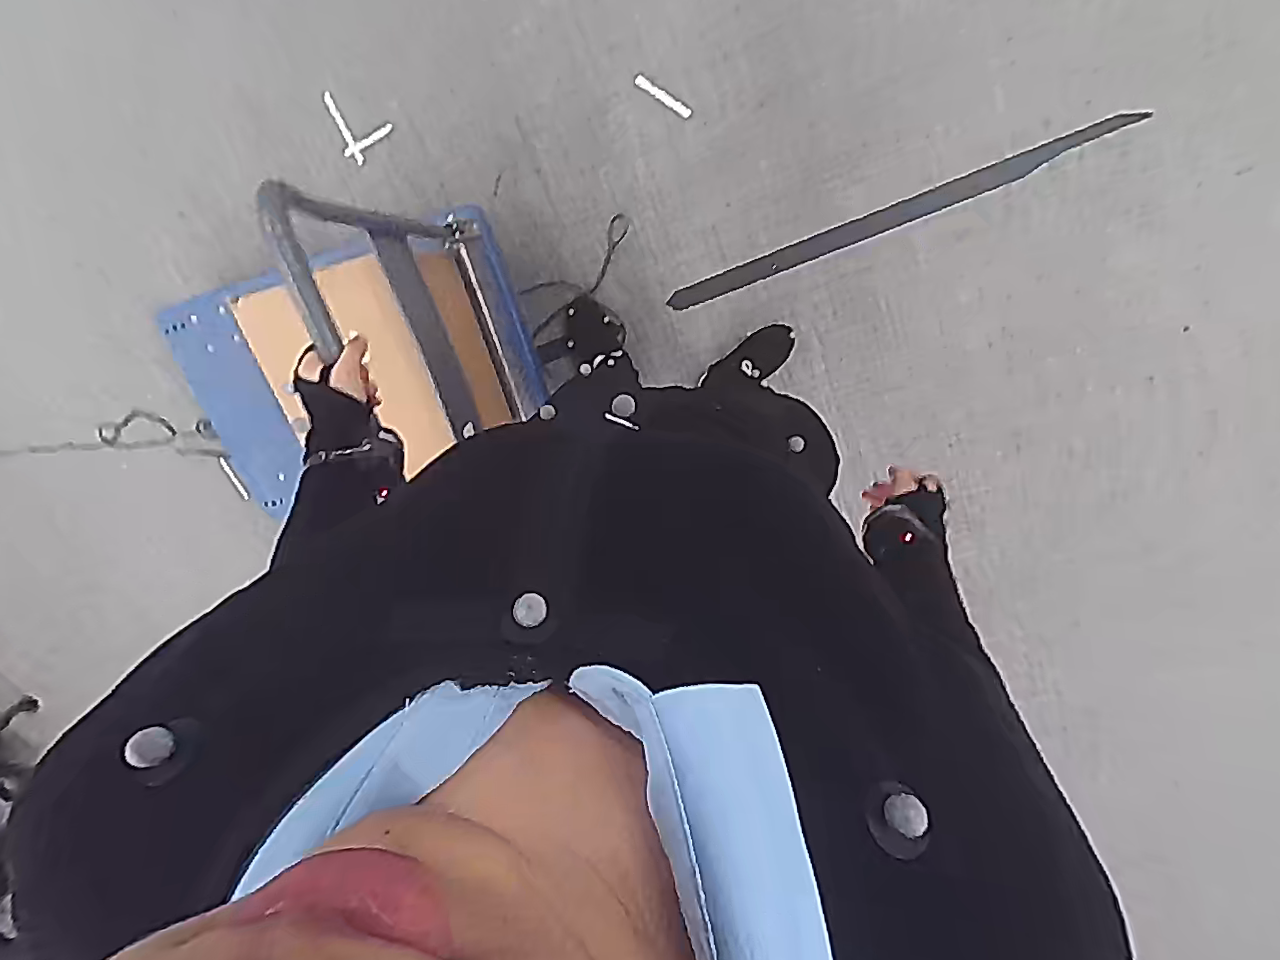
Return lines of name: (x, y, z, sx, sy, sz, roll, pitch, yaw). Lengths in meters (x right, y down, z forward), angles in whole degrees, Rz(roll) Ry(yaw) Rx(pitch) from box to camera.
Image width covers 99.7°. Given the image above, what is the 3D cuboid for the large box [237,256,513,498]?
large box: (-0.521, -0.226, 1.156, 0.320, 0.320, 0.408, -13, 109, 10)
